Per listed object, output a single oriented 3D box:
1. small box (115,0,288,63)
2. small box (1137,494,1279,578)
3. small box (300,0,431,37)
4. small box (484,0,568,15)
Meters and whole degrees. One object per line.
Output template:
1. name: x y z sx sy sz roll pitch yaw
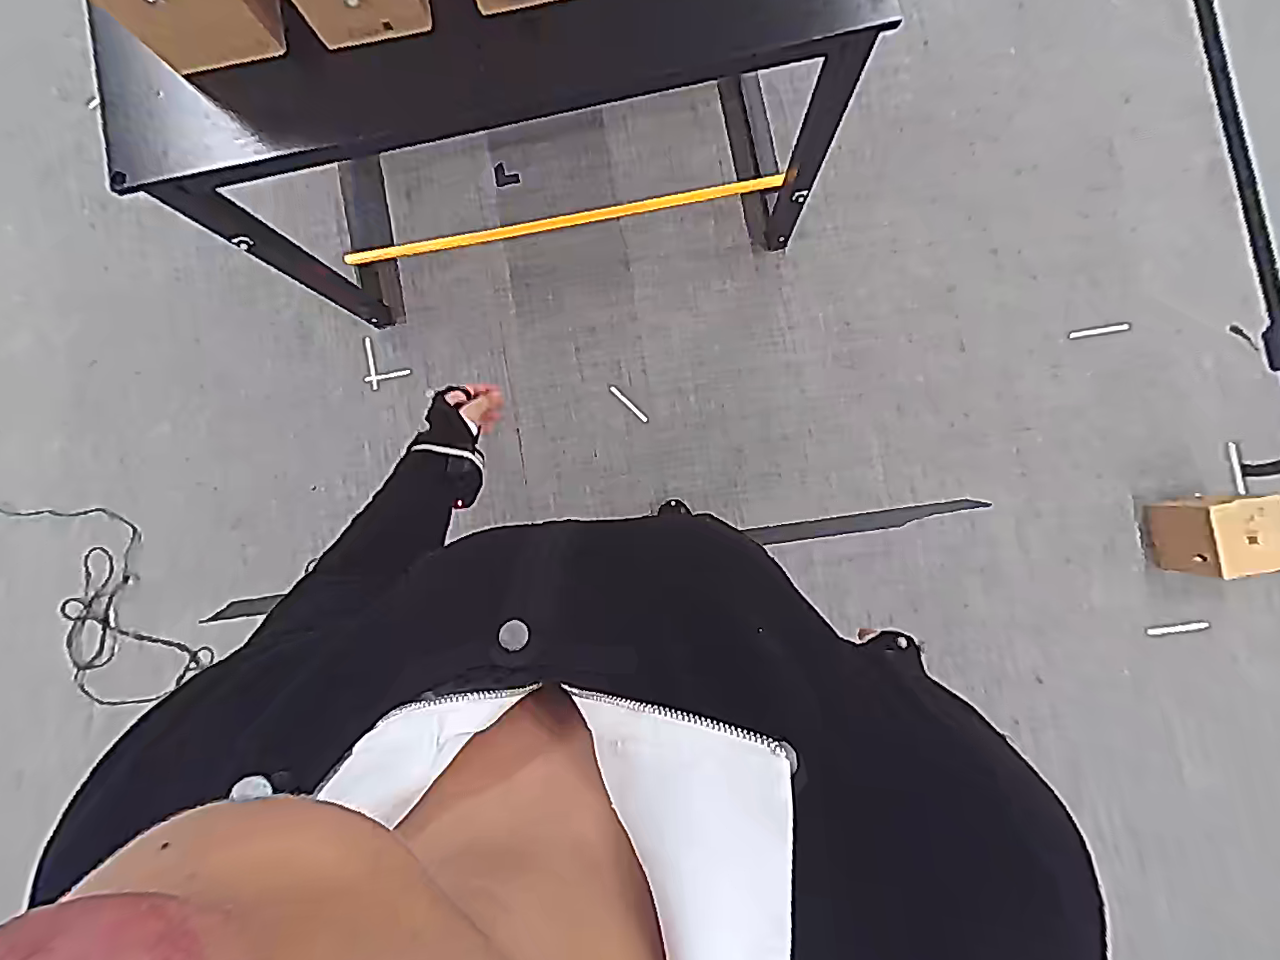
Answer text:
1. small box: -0.635 -0.726 0.749 0.179 0.176 0.168 -9 88 2
2. small box: 1.402 0.133 1.347 0.168 0.176 0.179 -10 88 3
3. small box: -0.405 -0.755 0.739 0.168 0.176 0.179 -9 88 2
4. small box: -0.170 -0.796 0.731 0.168 0.176 0.179 -10 88 4
